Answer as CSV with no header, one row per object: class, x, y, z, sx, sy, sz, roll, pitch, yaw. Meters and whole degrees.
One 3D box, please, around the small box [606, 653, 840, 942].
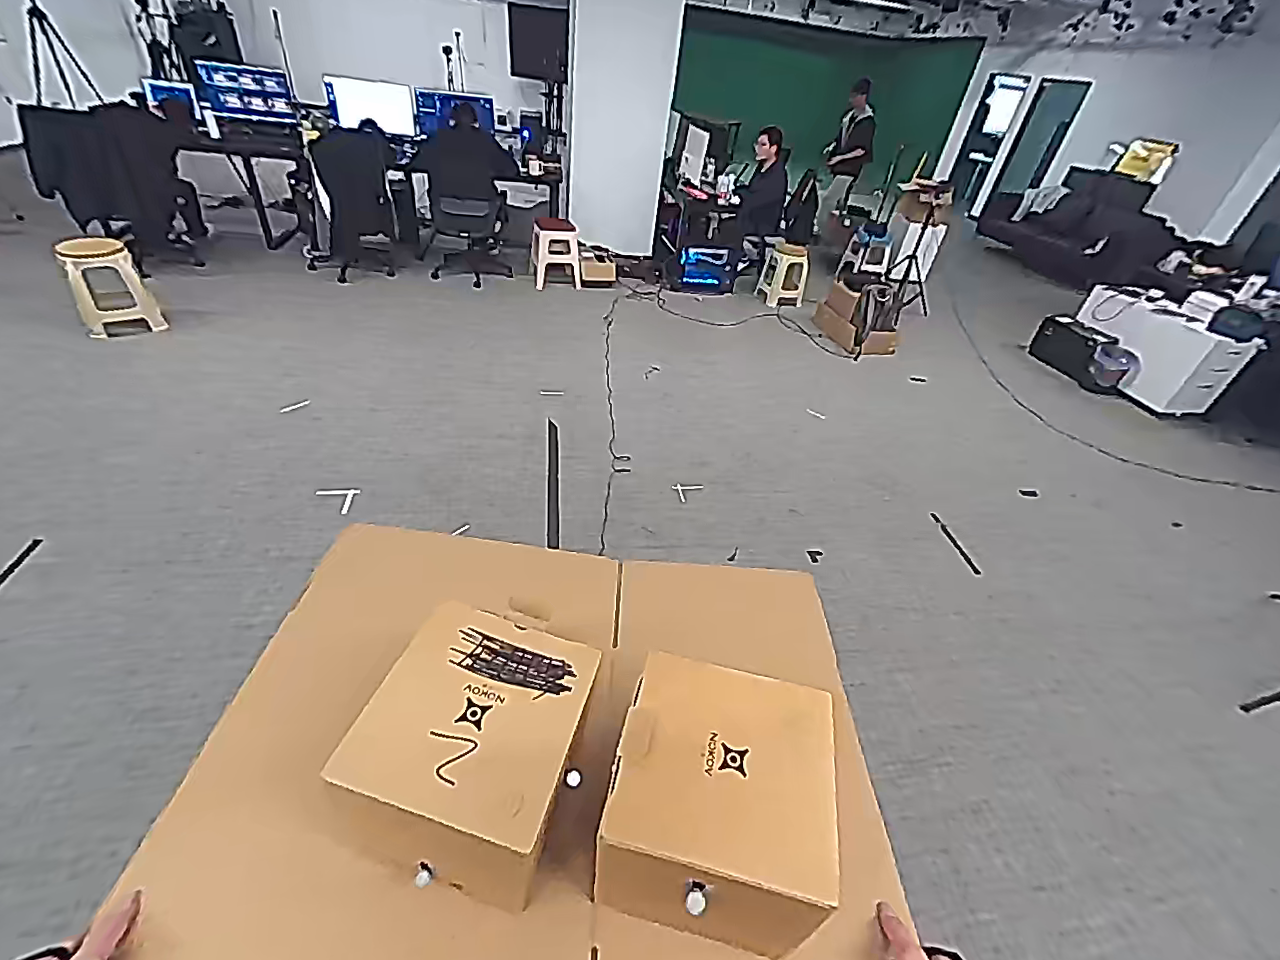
small box,0.073,0.296,0.506,0.179,0.176,0.168,11,40,9
